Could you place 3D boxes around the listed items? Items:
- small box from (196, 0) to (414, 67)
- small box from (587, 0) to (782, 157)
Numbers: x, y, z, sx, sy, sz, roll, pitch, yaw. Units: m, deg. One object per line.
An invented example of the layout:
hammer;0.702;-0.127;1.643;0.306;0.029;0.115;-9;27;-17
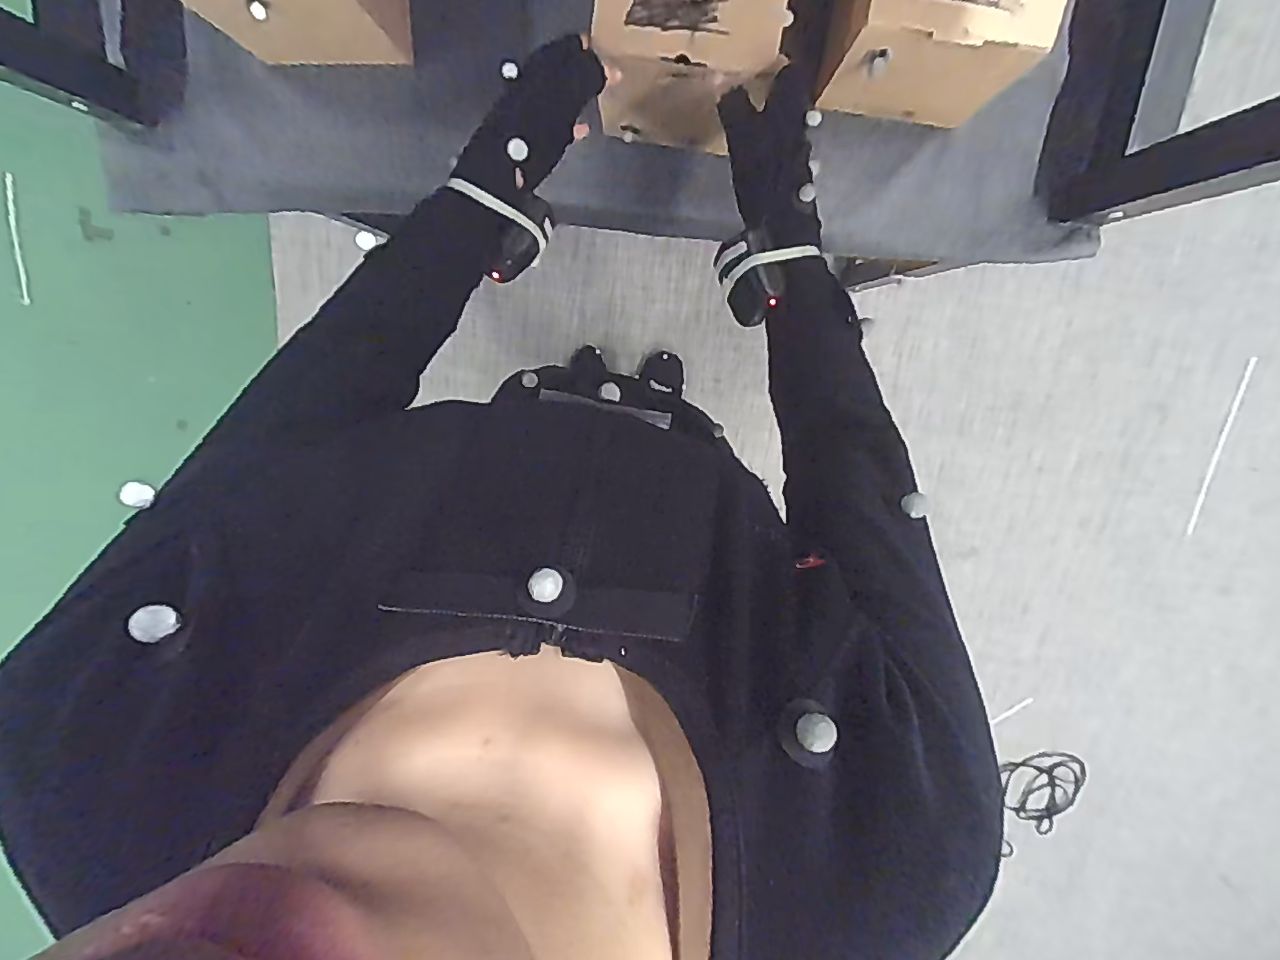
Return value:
small box;-0.349;-0.542;0.535;0.179;0.176;0.168;1;105;1
small box;0.049;-0.456;0.541;0.168;0.176;0.179;9;99;-1
